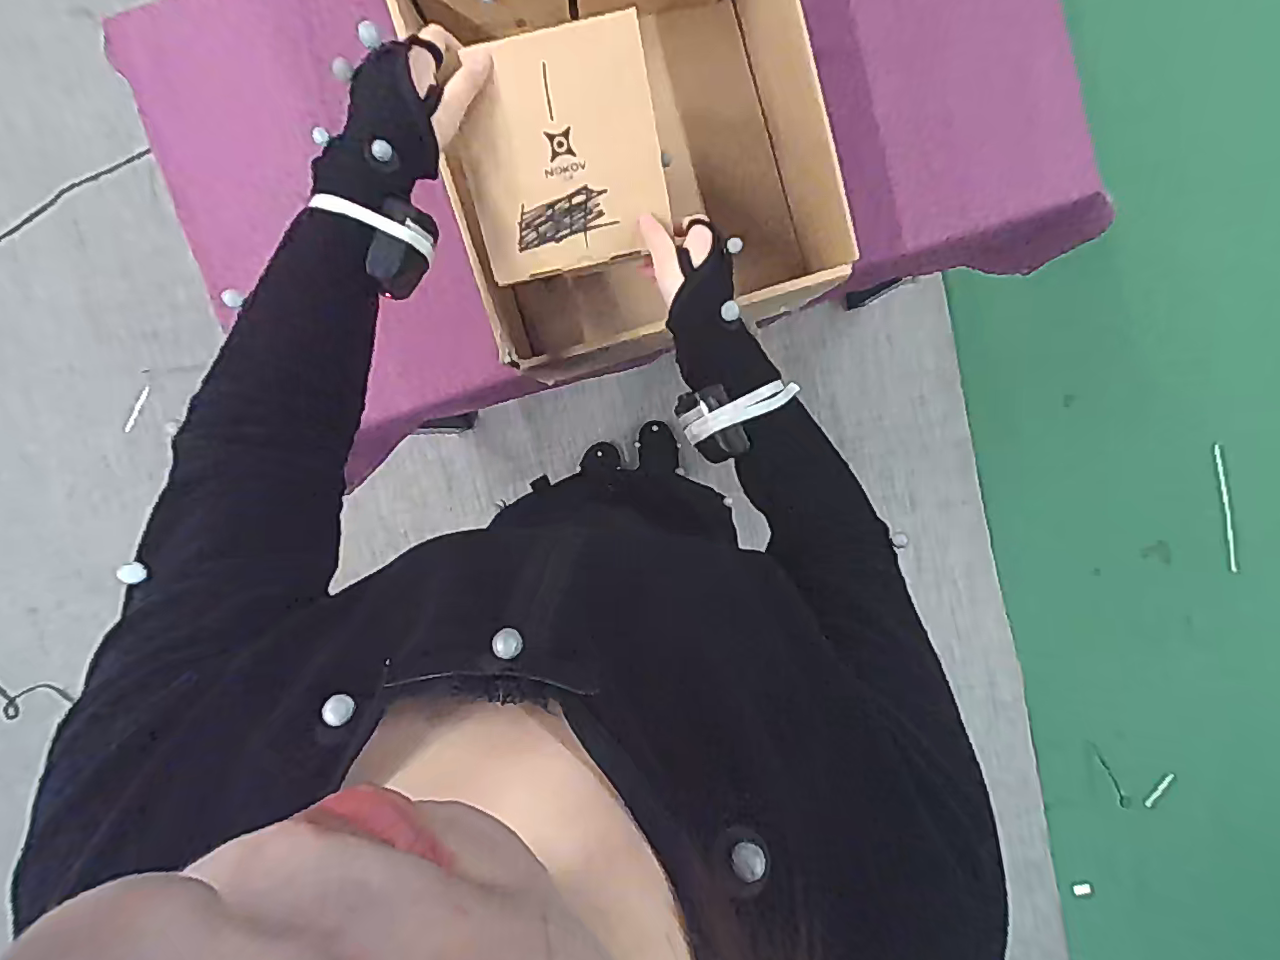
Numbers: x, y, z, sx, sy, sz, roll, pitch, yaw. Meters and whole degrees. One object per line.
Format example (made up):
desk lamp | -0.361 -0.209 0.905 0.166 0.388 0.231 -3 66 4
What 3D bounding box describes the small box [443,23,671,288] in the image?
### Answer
small box | -0.067 -0.299 0.542 0.168 0.176 0.179 -12 108 3
